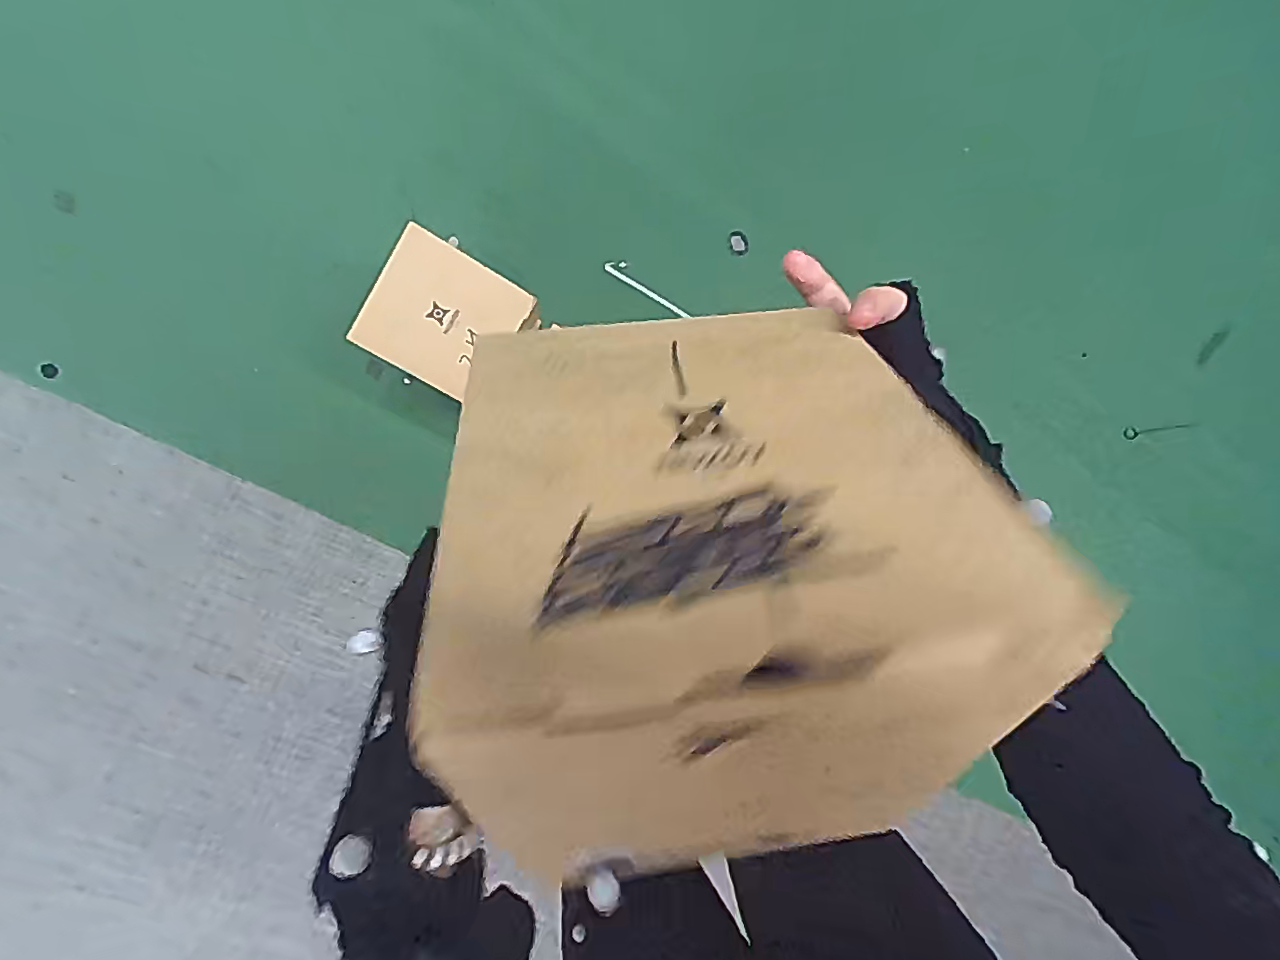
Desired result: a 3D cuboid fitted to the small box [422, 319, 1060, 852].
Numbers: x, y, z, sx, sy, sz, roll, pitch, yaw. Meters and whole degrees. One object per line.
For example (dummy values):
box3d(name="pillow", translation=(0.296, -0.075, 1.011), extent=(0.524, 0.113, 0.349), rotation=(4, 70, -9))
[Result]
box3d(name="small box", translation=(0.024, 0.054, 0.248), extent=(0.168, 0.179, 0.176), rotation=(-6, 138, -1))

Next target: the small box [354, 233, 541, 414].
box3d(name="small box", translation=(-0.255, -0.202, 0.758), extent=(0.179, 0.176, 0.168), rotation=(30, 92, -13))
